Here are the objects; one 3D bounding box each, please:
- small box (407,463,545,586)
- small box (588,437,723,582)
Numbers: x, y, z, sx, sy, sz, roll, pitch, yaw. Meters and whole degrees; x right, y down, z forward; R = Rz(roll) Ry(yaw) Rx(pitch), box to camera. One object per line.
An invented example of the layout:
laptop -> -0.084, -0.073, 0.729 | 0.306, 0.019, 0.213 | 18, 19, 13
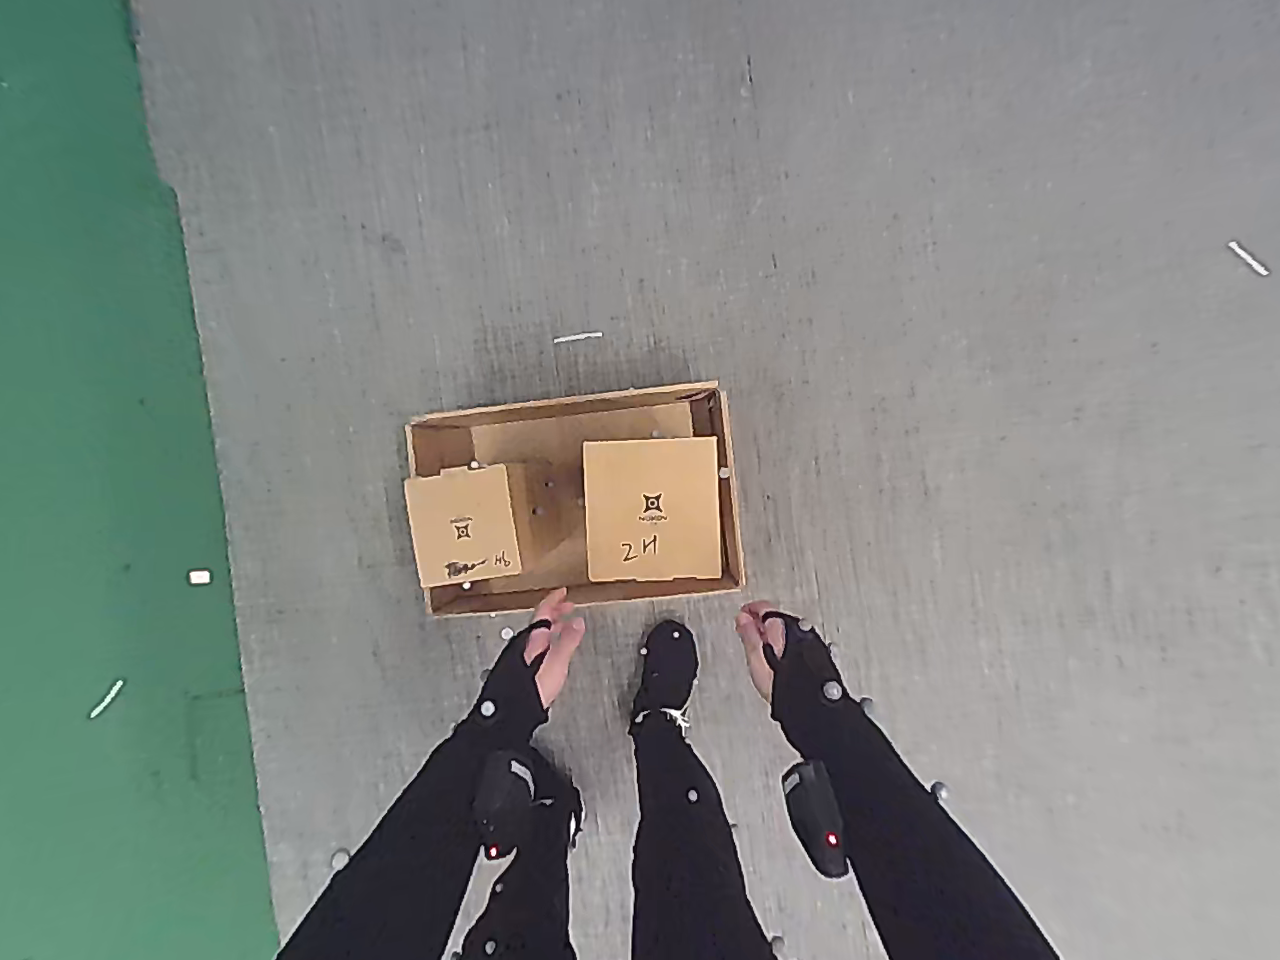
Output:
small box -> -0.267, 0.070, 0.915 | 0.168, 0.176, 0.179 | -8, 90, 4
small box -> 0.022, 0.035, 0.737 | 0.168, 0.176, 0.179 | -2, 92, 3
